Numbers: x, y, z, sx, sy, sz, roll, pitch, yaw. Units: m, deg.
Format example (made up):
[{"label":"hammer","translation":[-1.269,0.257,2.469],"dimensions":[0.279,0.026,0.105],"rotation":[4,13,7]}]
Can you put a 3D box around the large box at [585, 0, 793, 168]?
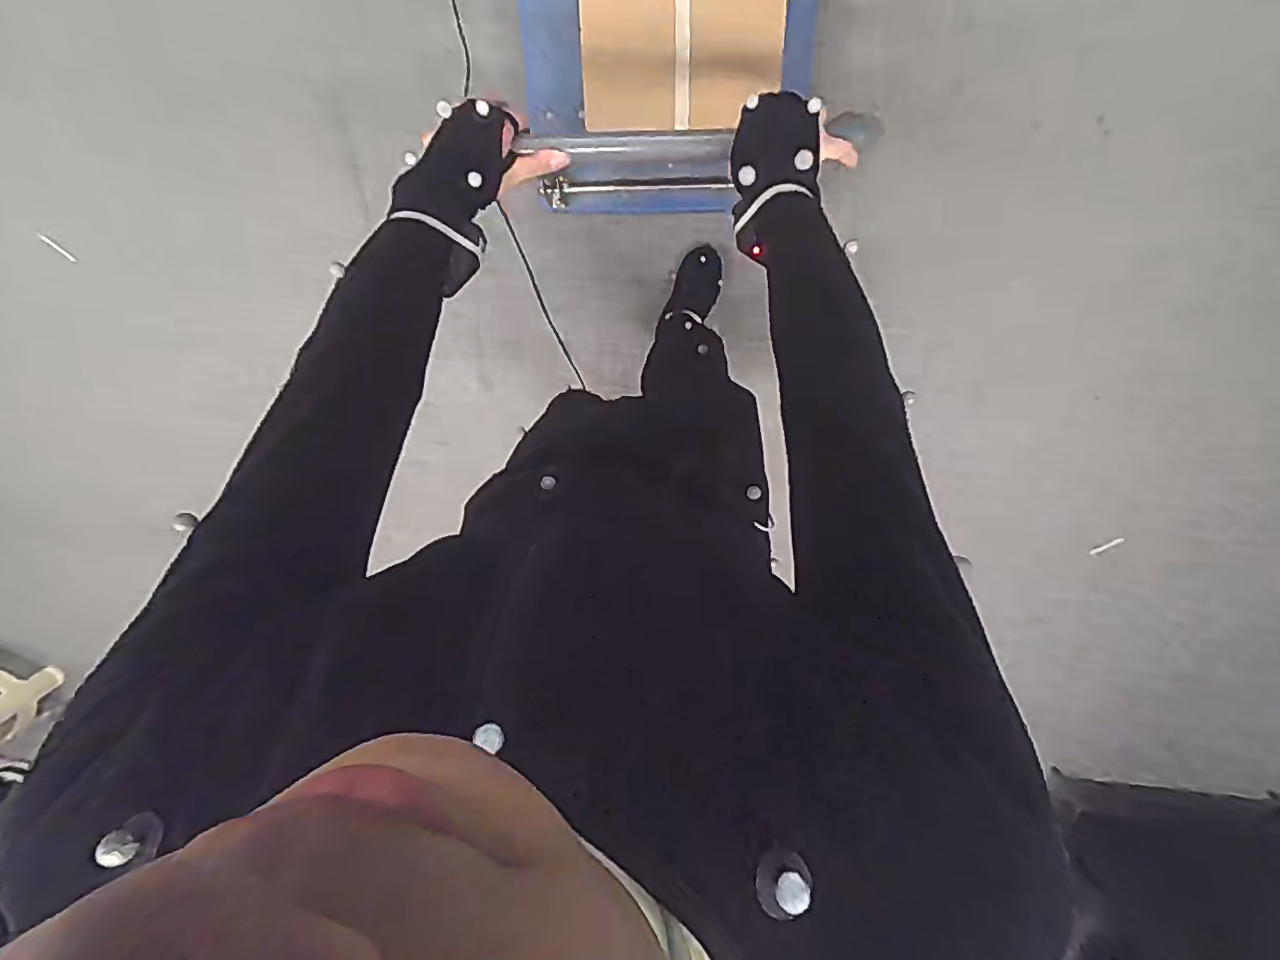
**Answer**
[{"label":"large box","translation":[0.083,-0.791,0.931],"dimensions":[0.320,0.320,0.408],"rotation":[0,114,4]}]
